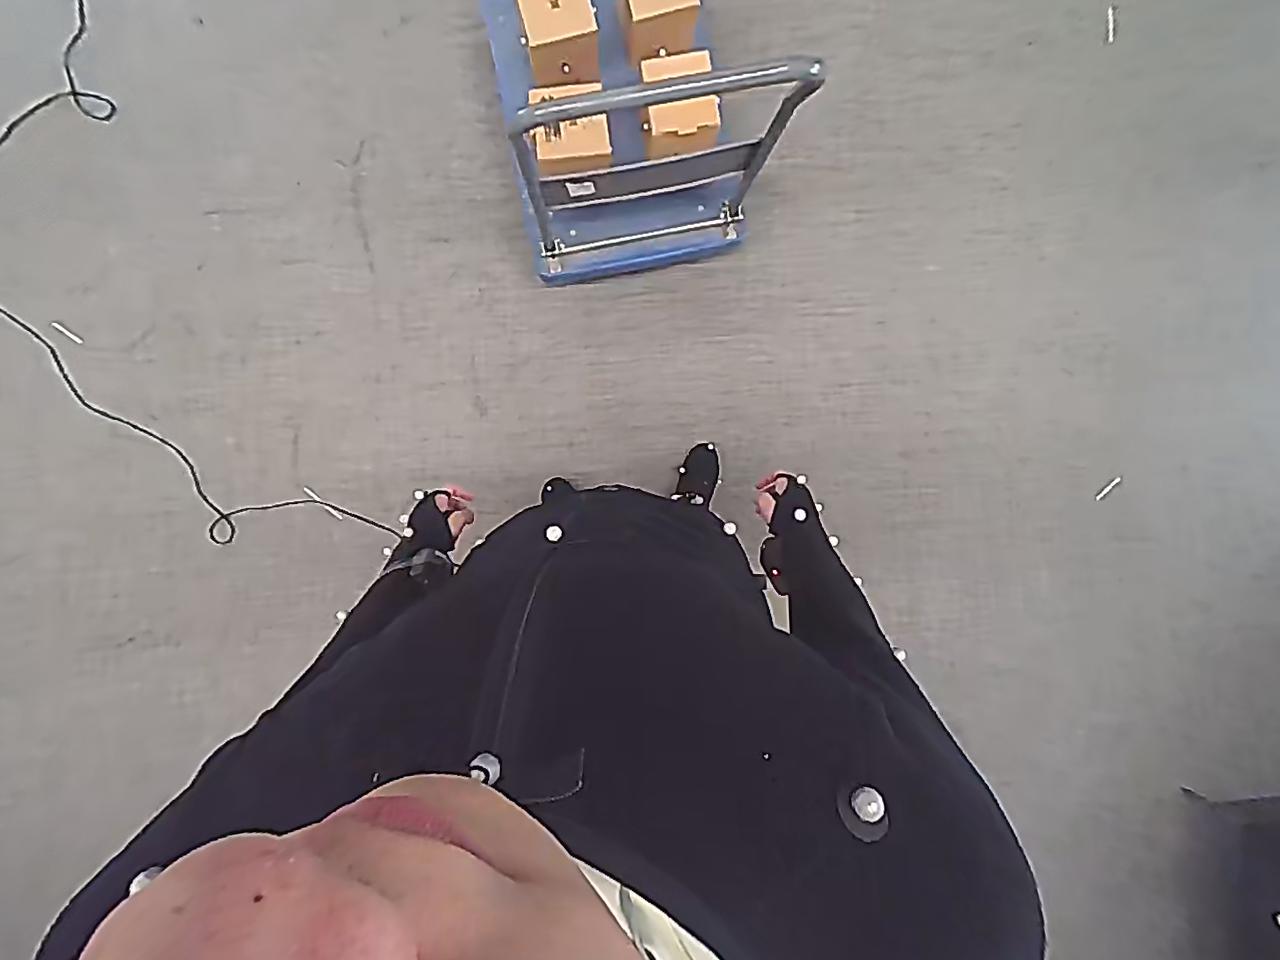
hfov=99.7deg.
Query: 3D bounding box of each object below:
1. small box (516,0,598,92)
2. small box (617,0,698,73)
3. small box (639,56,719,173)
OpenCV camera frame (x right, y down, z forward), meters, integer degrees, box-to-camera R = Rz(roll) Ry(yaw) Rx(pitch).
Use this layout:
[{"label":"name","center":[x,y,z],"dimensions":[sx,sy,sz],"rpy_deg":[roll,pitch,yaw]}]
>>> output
[{"label":"small box","center":[-0.205,-1.117,1.357],"dimensions":[0.168,0.176,0.179],"rpy_deg":[-15,92,-2]},{"label":"small box","center":[0.037,-1.184,1.362],"dimensions":[0.168,0.176,0.179],"rpy_deg":[-15,93,0]},{"label":"small box","center":[0.092,-0.920,1.374],"dimensions":[0.168,0.176,0.179],"rpy_deg":[-11,93,-2]}]
